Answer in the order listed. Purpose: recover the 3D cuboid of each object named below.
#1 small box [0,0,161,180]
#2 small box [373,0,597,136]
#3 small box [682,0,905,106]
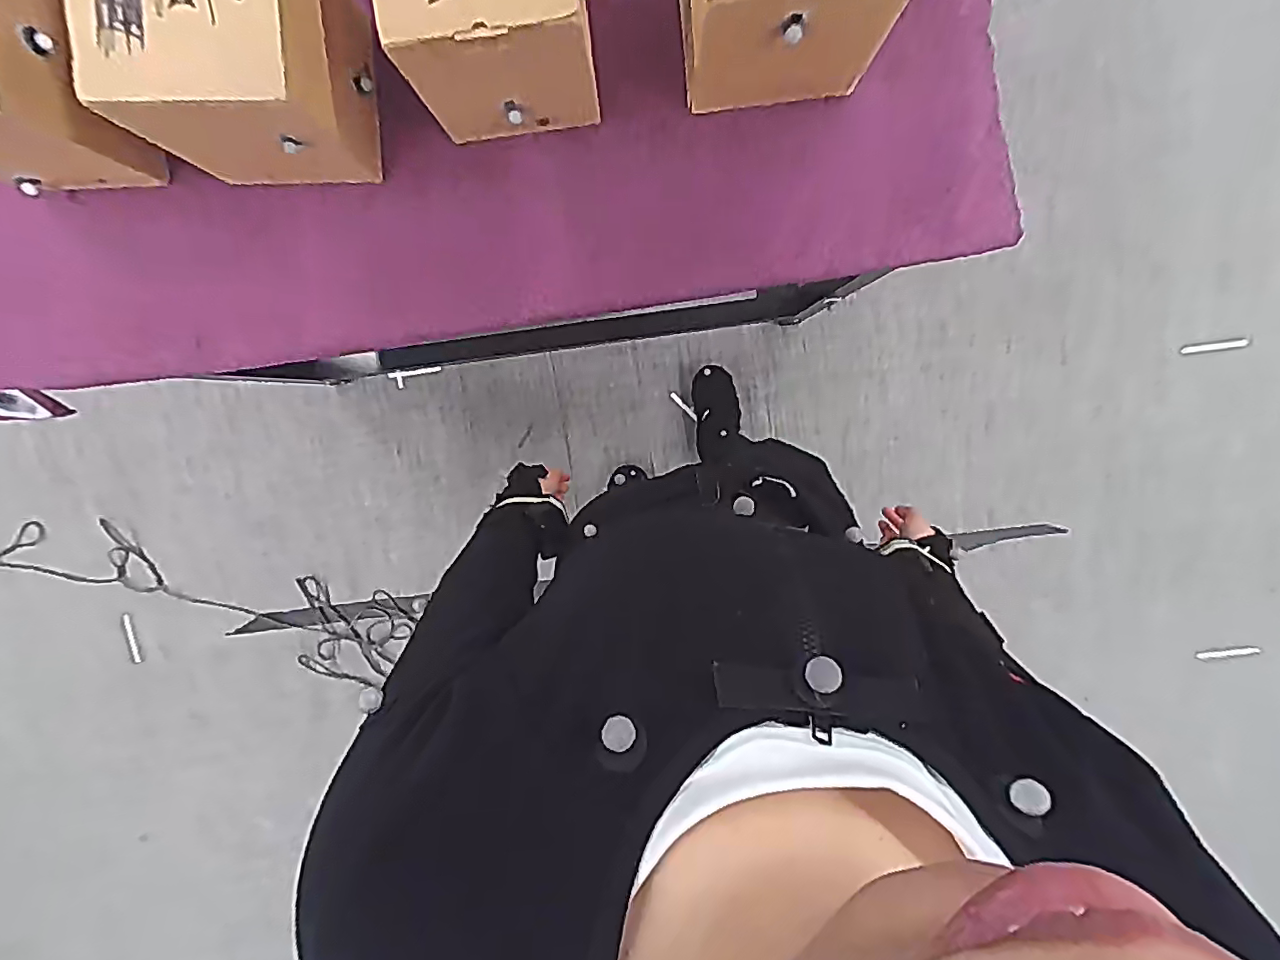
[{"bbox_3d":[-0.611,-0.404,0.514,0.168,0.176,0.179,-2,98,1],"label":"small box"},{"bbox_3d":[-0.136,-0.458,0.500,0.168,0.176,0.179,-6,98,2],"label":"small box"},{"bbox_3d":[0.131,-0.479,0.492,0.179,0.176,0.168,-5,97,3],"label":"small box"}]
